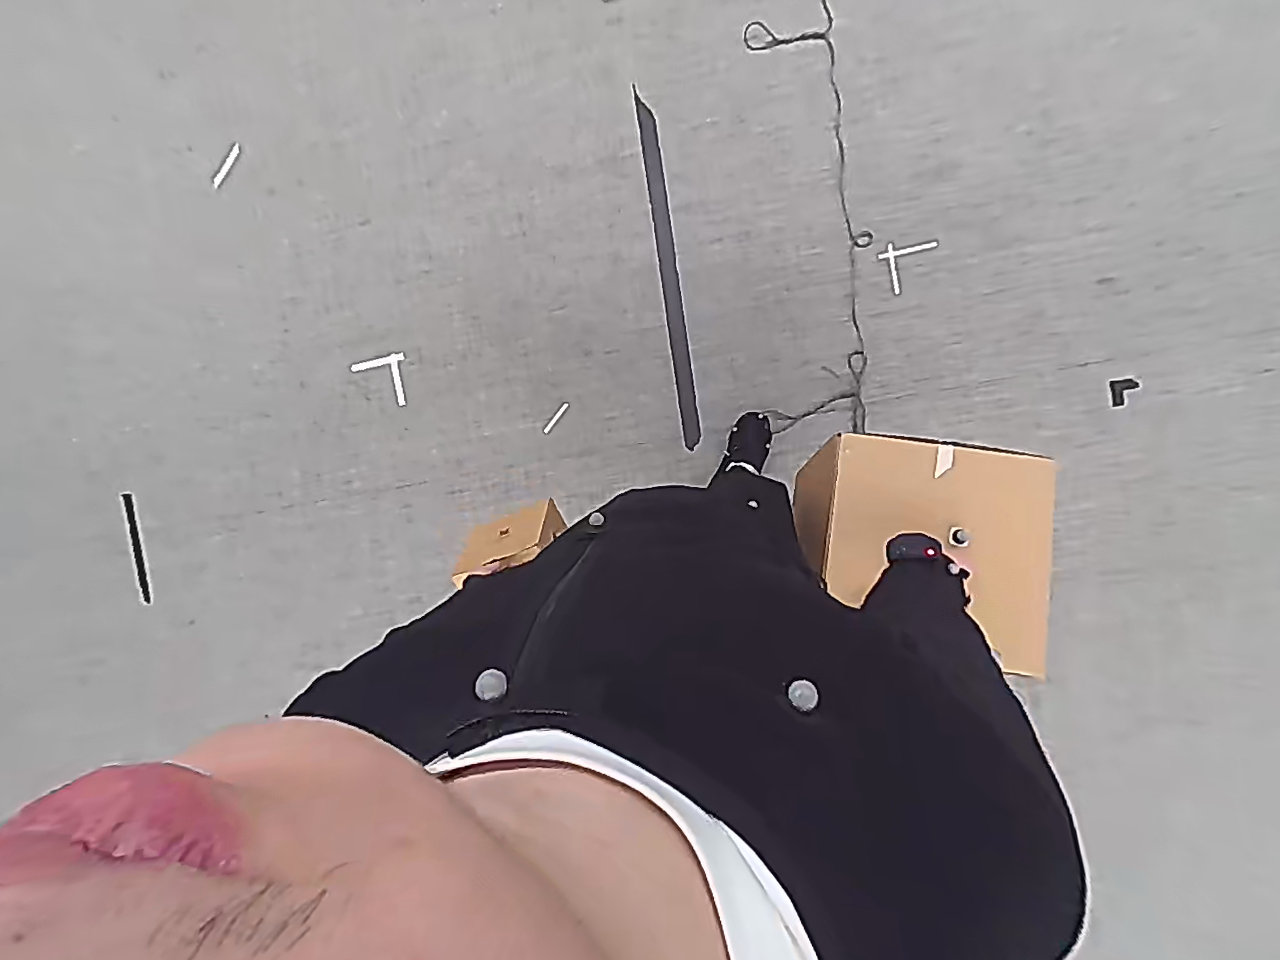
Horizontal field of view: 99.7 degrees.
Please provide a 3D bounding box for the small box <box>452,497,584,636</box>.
[{"bbox_3d":[-0.214,0.165,1.003,0.168,0.179,0.176,-20,115,8],"label":"small box"}]
